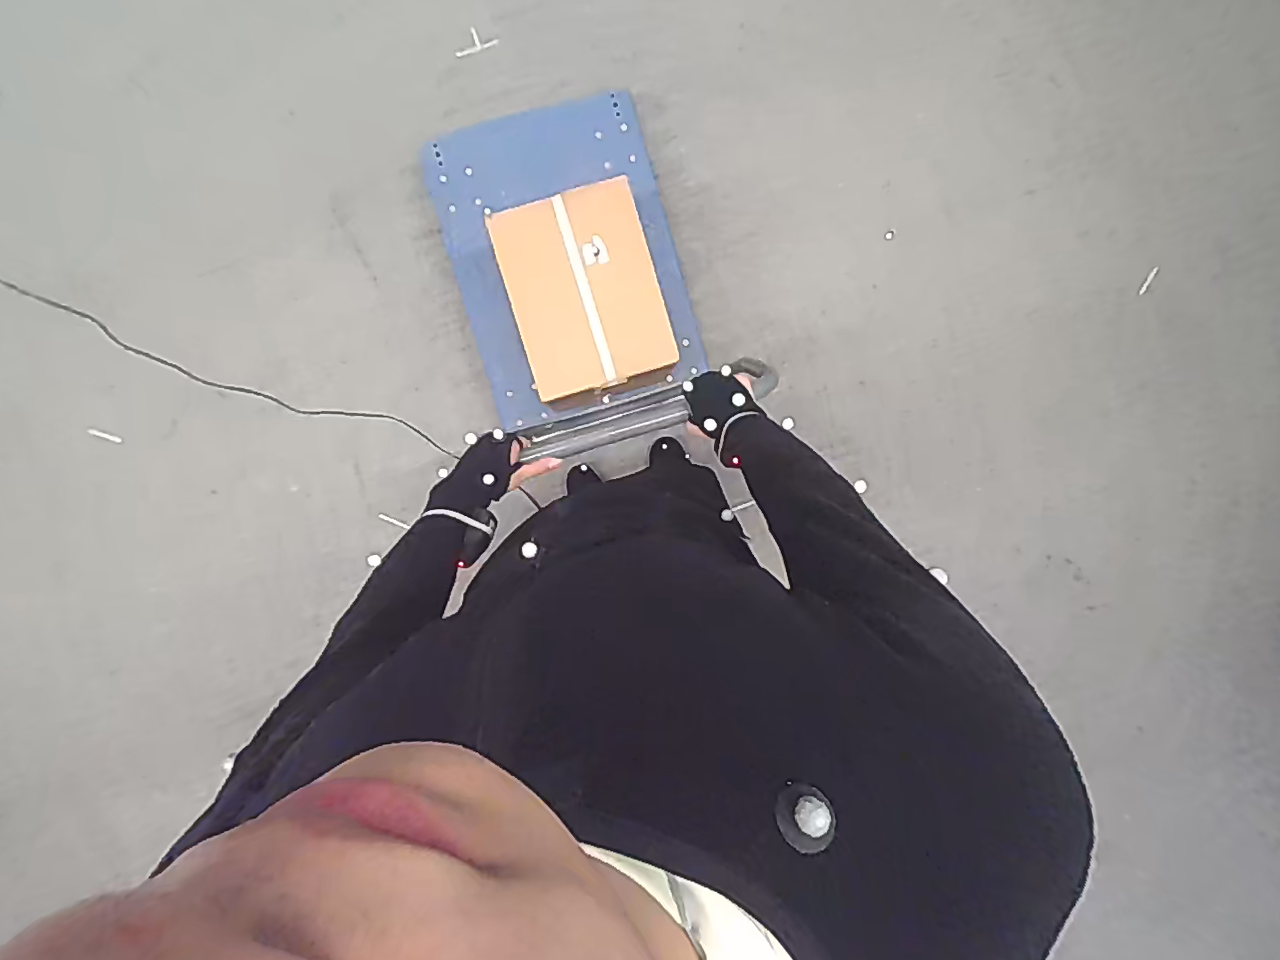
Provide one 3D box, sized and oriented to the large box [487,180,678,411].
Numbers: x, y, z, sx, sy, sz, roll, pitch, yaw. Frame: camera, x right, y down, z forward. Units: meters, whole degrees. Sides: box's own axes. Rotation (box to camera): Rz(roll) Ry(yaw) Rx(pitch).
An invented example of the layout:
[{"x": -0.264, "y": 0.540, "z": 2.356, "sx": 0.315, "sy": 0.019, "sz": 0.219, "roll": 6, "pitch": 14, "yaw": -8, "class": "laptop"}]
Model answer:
[{"x": -0.124, "y": -0.411, "z": 1.301, "sx": 0.320, "sy": 0.320, "sz": 0.408, "roll": -17, "pitch": 93, "yaw": -2, "class": "large box"}]
